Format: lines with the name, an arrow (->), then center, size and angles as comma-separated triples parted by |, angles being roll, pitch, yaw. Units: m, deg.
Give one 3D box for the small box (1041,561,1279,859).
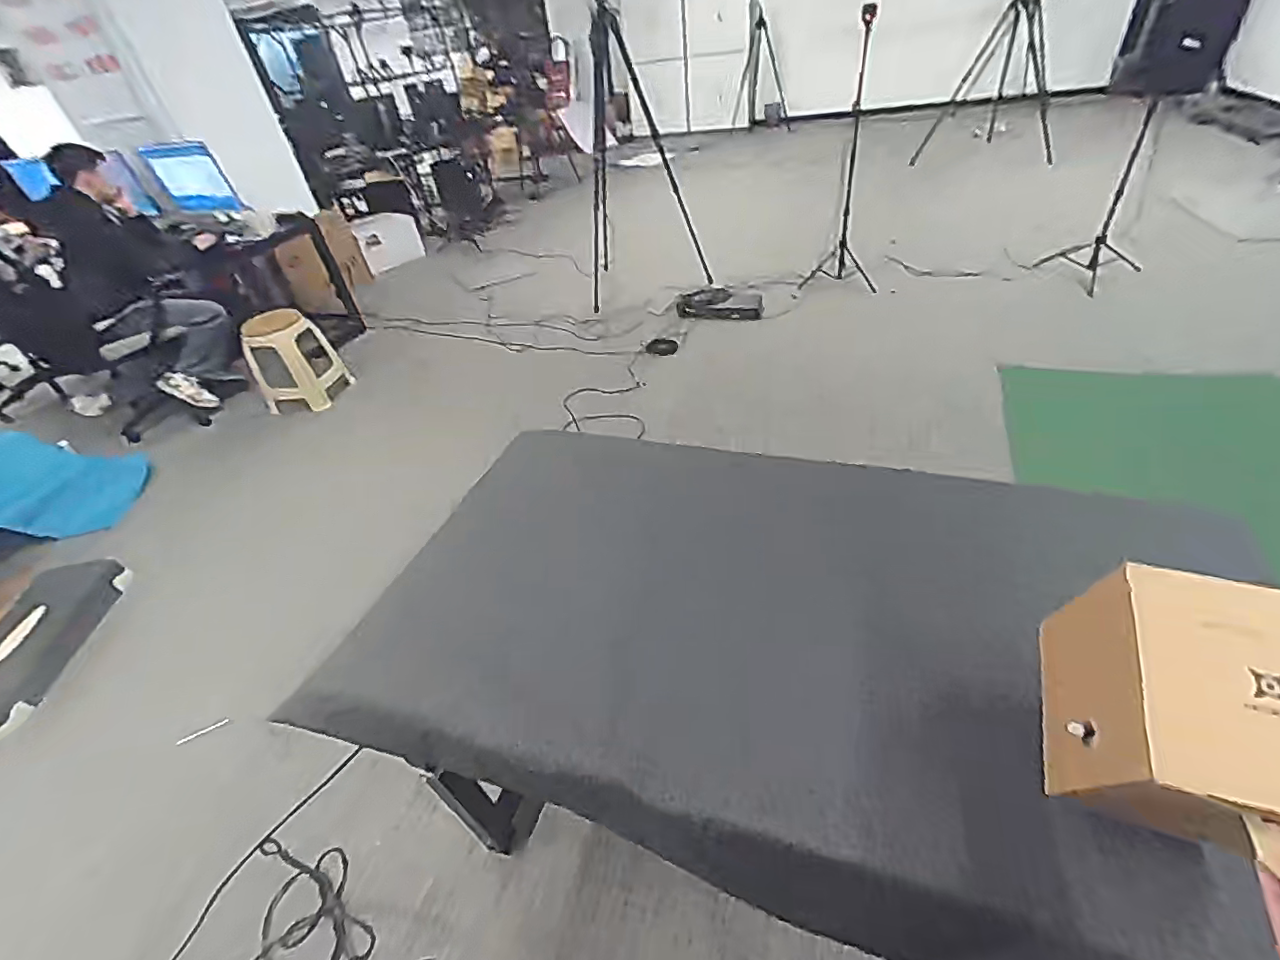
small box -> 0.471, 0.197, 0.457 | 0.168, 0.176, 0.179 | 11, 59, 16
